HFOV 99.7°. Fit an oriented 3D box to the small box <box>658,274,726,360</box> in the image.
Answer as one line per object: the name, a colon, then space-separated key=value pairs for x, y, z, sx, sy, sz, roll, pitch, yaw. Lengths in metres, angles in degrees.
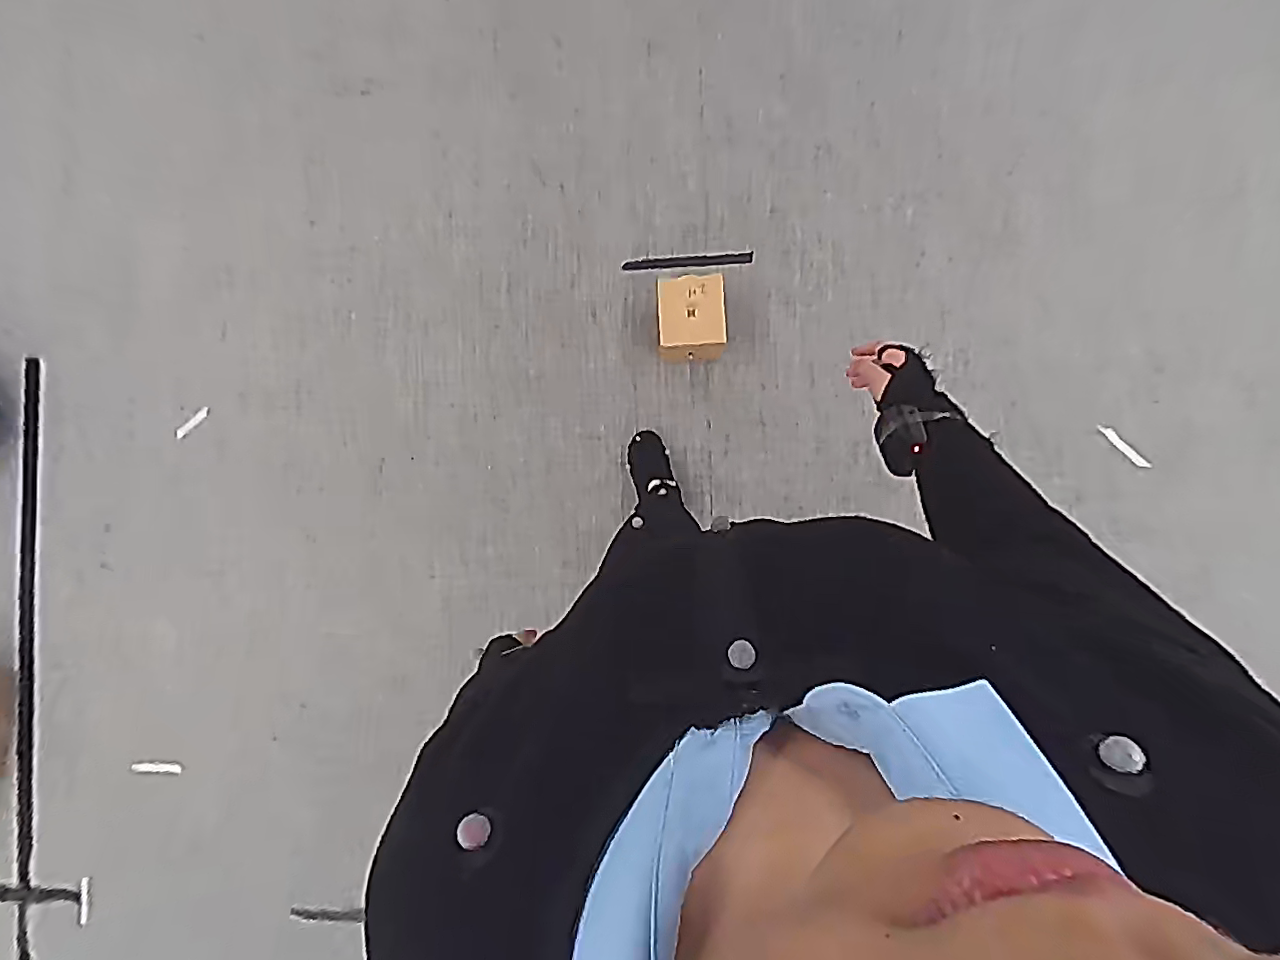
small box: x=0.136 y=-0.418 z=1.420 sx=0.168 sy=0.176 sz=0.179 roll=-3 pitch=88 yaw=4
